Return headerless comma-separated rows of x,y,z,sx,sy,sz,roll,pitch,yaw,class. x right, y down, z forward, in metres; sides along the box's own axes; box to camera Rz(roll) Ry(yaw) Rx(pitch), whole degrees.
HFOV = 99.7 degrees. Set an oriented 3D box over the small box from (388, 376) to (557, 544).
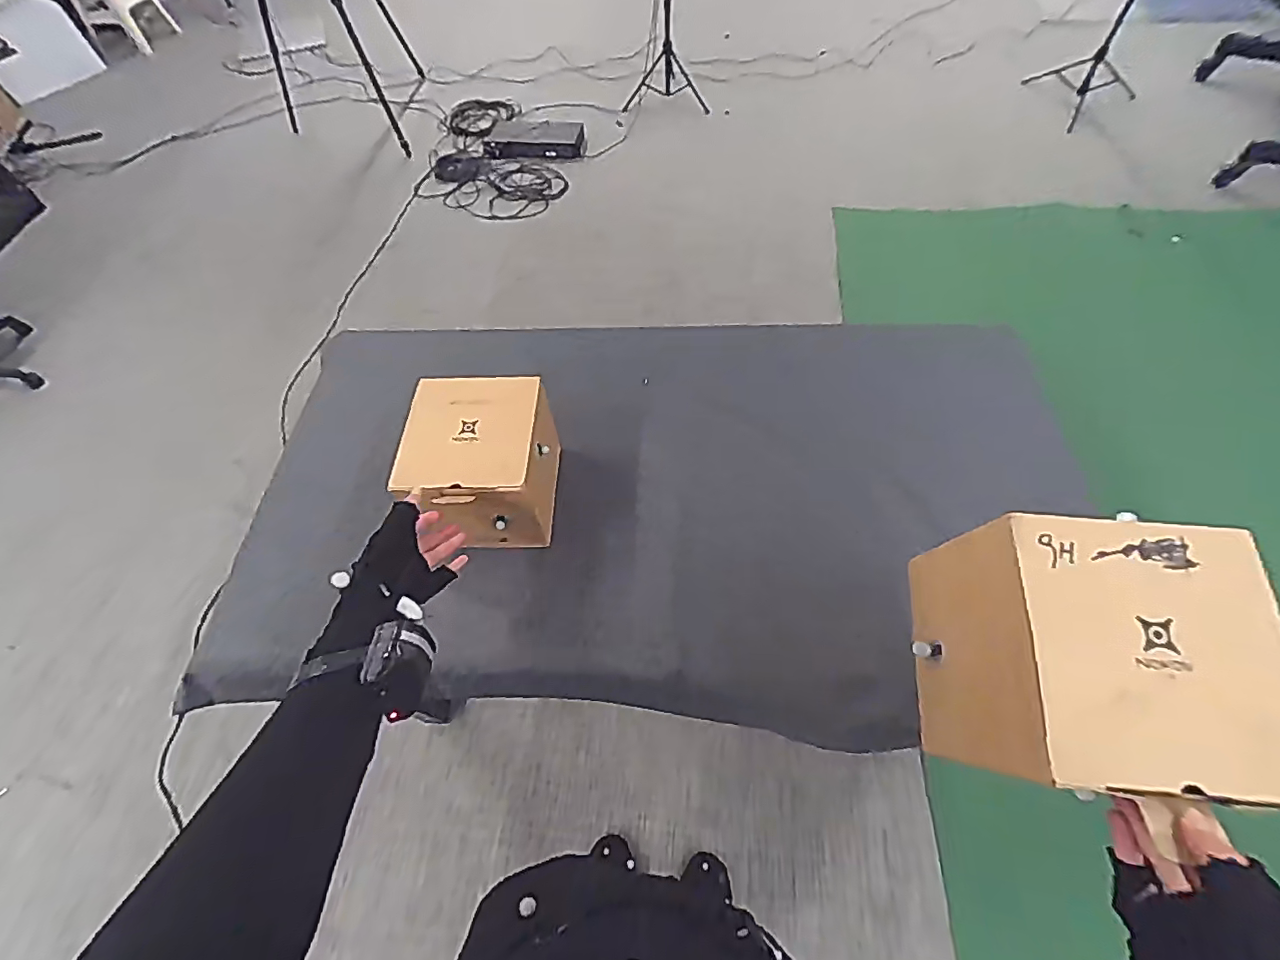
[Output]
-0.213,-0.021,0.744,0.168,0.176,0.179,0,58,1,small box
